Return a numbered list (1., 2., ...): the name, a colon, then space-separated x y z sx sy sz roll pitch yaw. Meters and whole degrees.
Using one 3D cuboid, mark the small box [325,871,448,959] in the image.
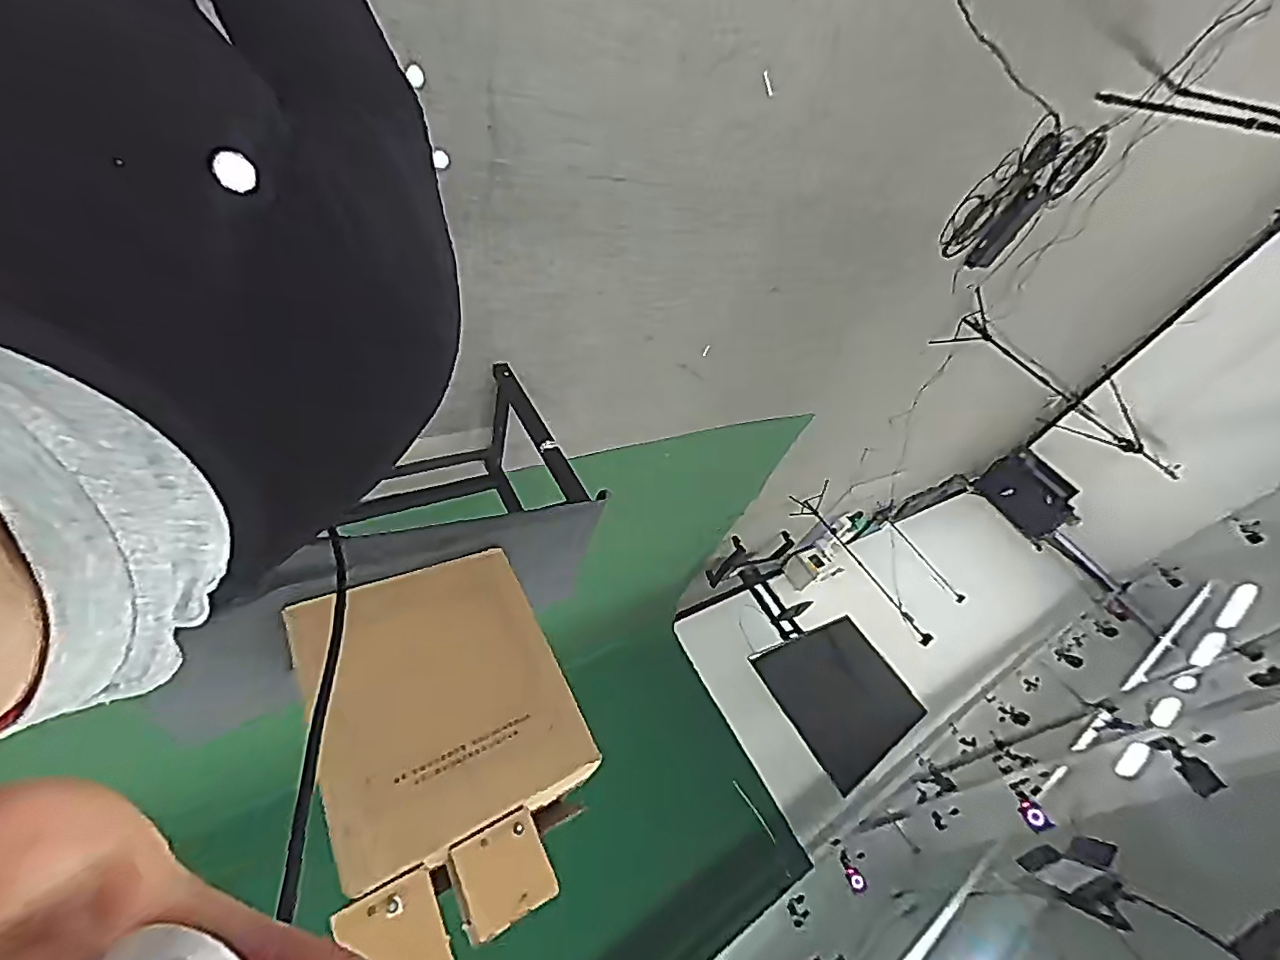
1. small box: -0.467 0.864 0.998 0.168 0.176 0.179 -14 145 -35
